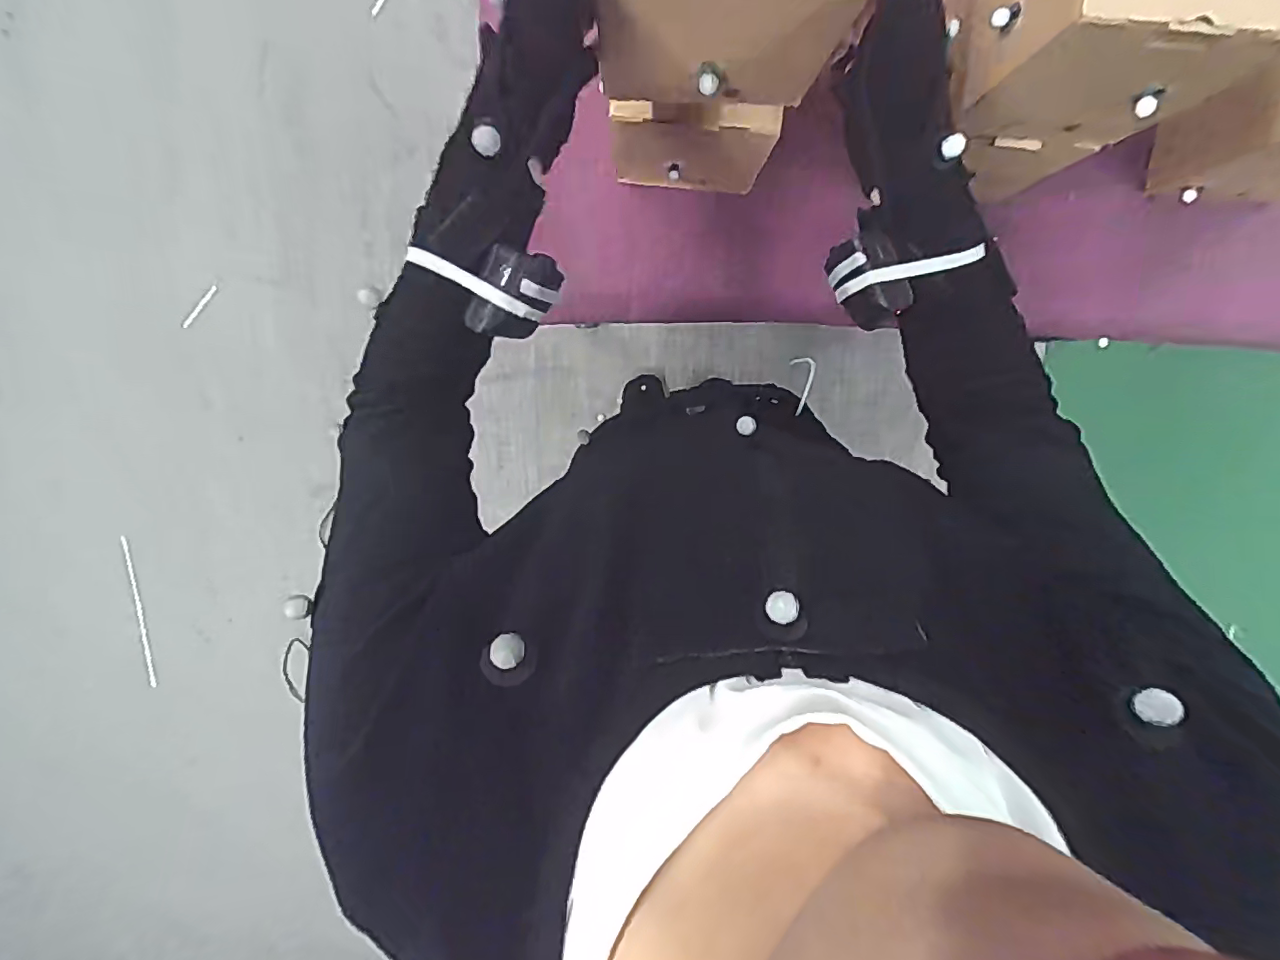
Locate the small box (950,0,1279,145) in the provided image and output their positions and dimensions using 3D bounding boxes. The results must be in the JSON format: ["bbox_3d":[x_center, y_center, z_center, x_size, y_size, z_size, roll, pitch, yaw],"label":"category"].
[{"bbox_3d":[0.370,-0.384,0.412,0.168,0.176,0.179,4,101,-1],"label":"small box"}]

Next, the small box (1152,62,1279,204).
[{"bbox_3d":[0.706,-0.410,0.568,0.168,0.176,0.179,6,102,-2],"label":"small box"}]

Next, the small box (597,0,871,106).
[{"bbox_3d":[0.056,-0.377,0.344,0.168,0.176,0.179,1,103,-2],"label":"small box"}]
